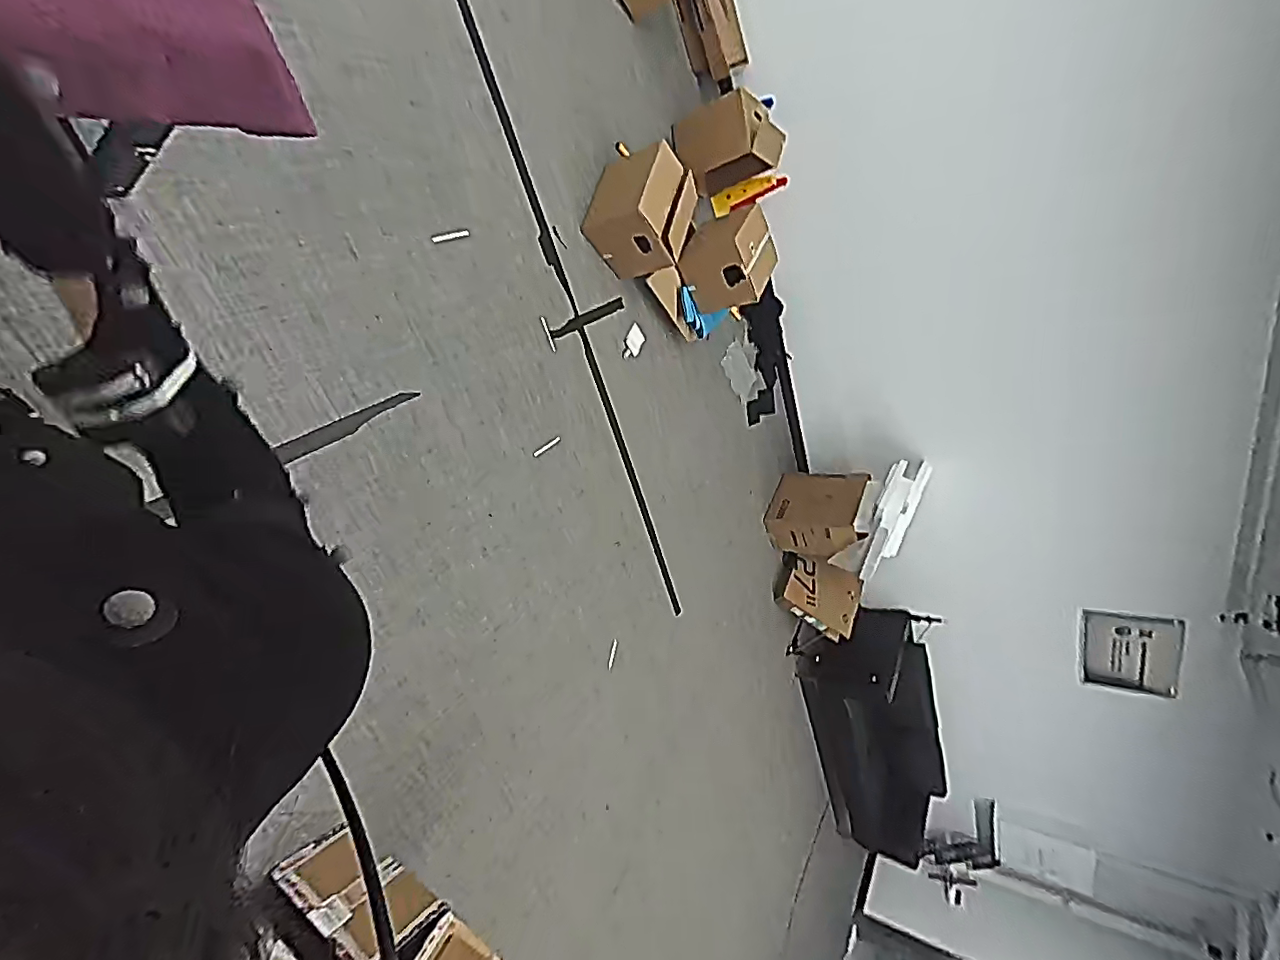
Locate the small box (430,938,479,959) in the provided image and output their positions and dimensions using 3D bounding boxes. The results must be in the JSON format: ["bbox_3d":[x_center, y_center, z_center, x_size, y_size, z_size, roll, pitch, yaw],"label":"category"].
[{"bbox_3d":[-0.394,1.153,1.171,0.179,0.176,0.168,-51,131,-42],"label":"small box"}]
